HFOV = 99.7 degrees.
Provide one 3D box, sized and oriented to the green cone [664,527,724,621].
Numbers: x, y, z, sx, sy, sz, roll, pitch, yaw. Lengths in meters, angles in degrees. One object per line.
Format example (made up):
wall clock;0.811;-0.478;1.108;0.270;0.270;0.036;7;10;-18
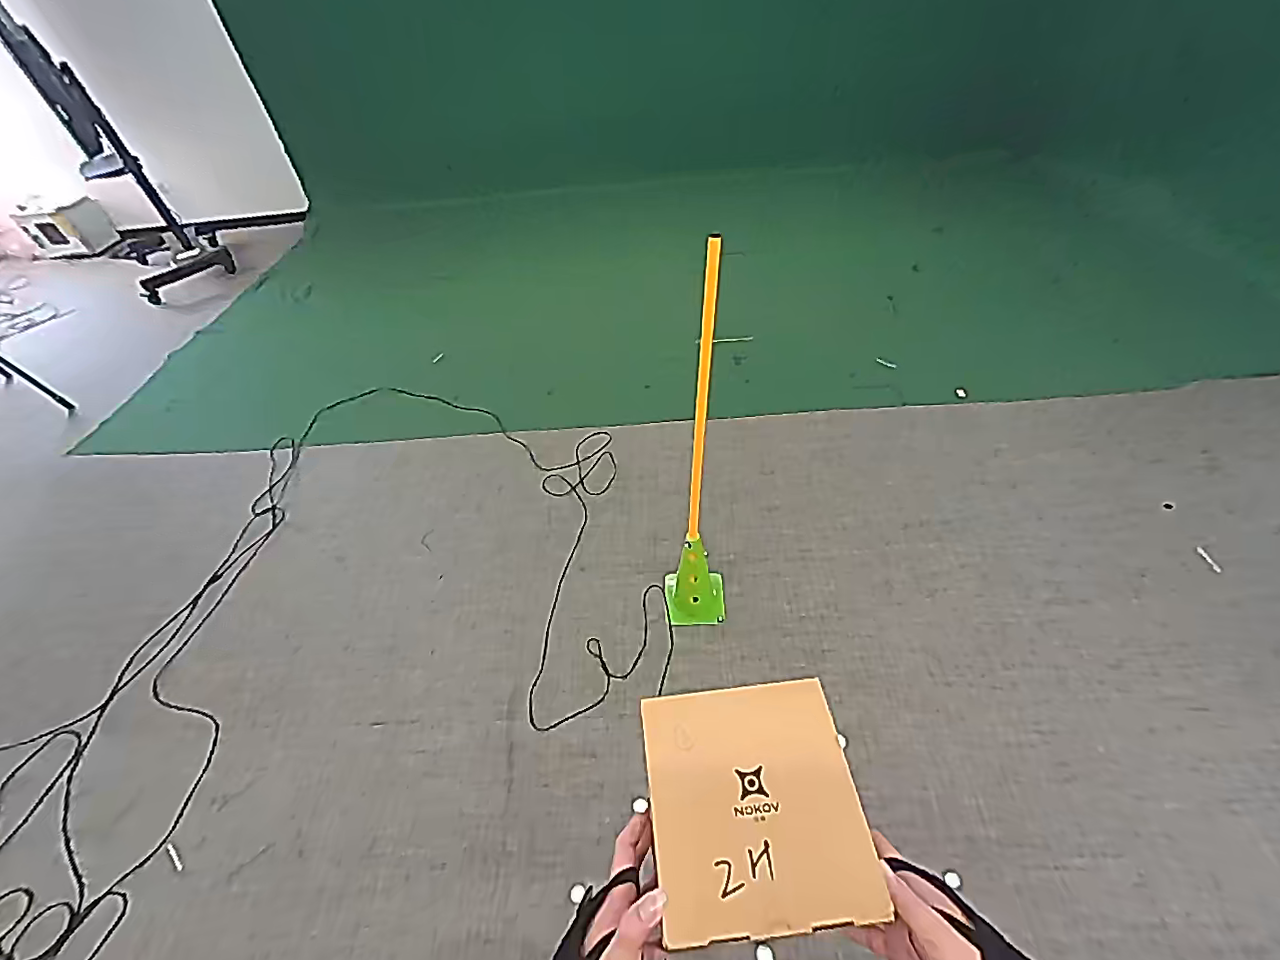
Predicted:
green cone;0.168;0.276;1.740;0.202;0.368;0.200;-2;46;5

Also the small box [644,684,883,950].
small box;0.091;0.312;0.501;0.168;0.176;0.179;-5;49;-1
